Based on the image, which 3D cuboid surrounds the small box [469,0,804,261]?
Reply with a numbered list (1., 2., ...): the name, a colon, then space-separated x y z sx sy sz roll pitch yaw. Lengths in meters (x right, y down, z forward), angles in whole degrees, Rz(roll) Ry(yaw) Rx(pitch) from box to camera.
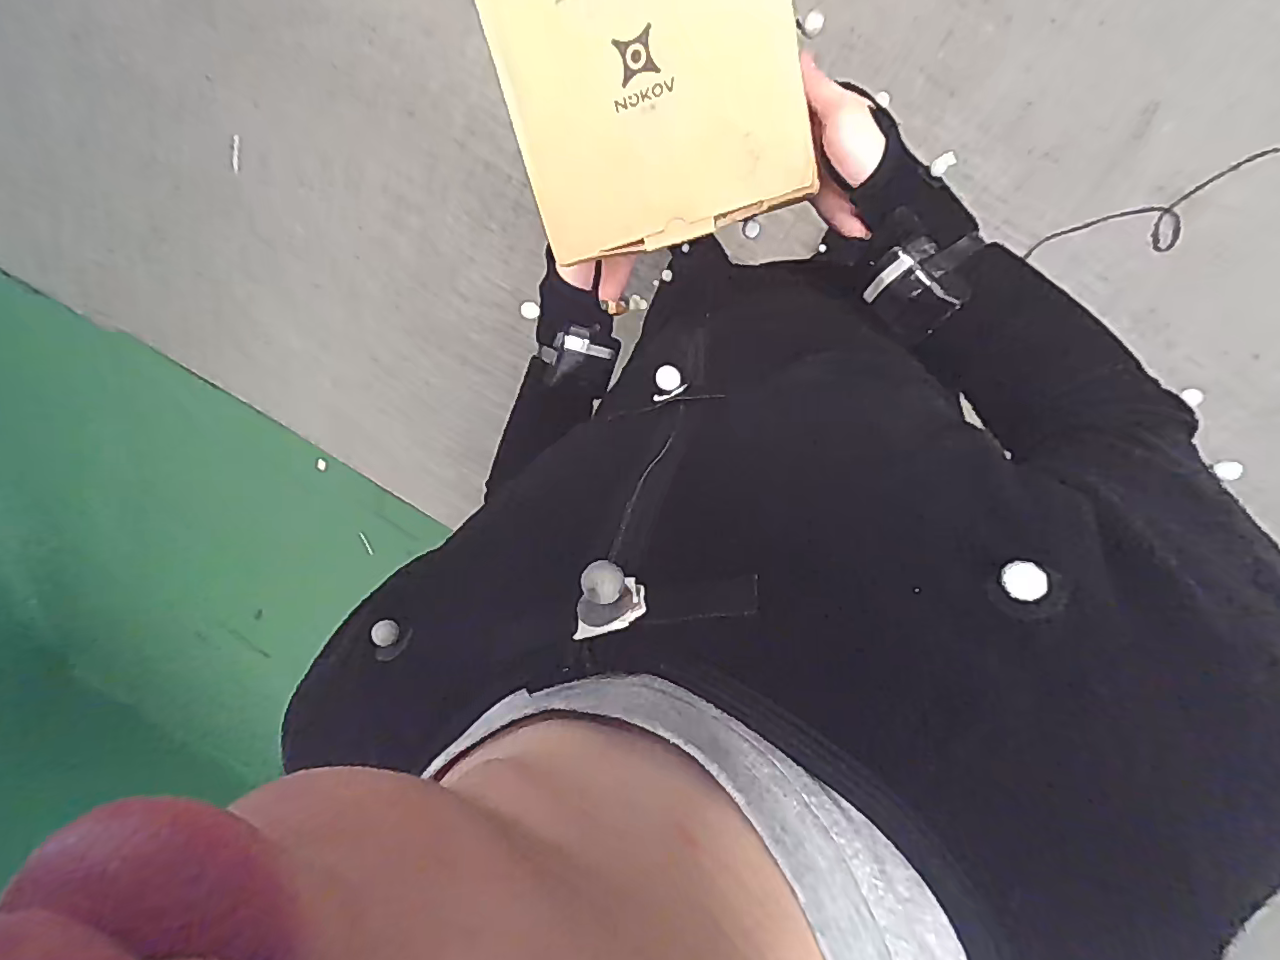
1. small box: 0.016 -0.264 0.365 0.168 0.176 0.179 -8 112 20
